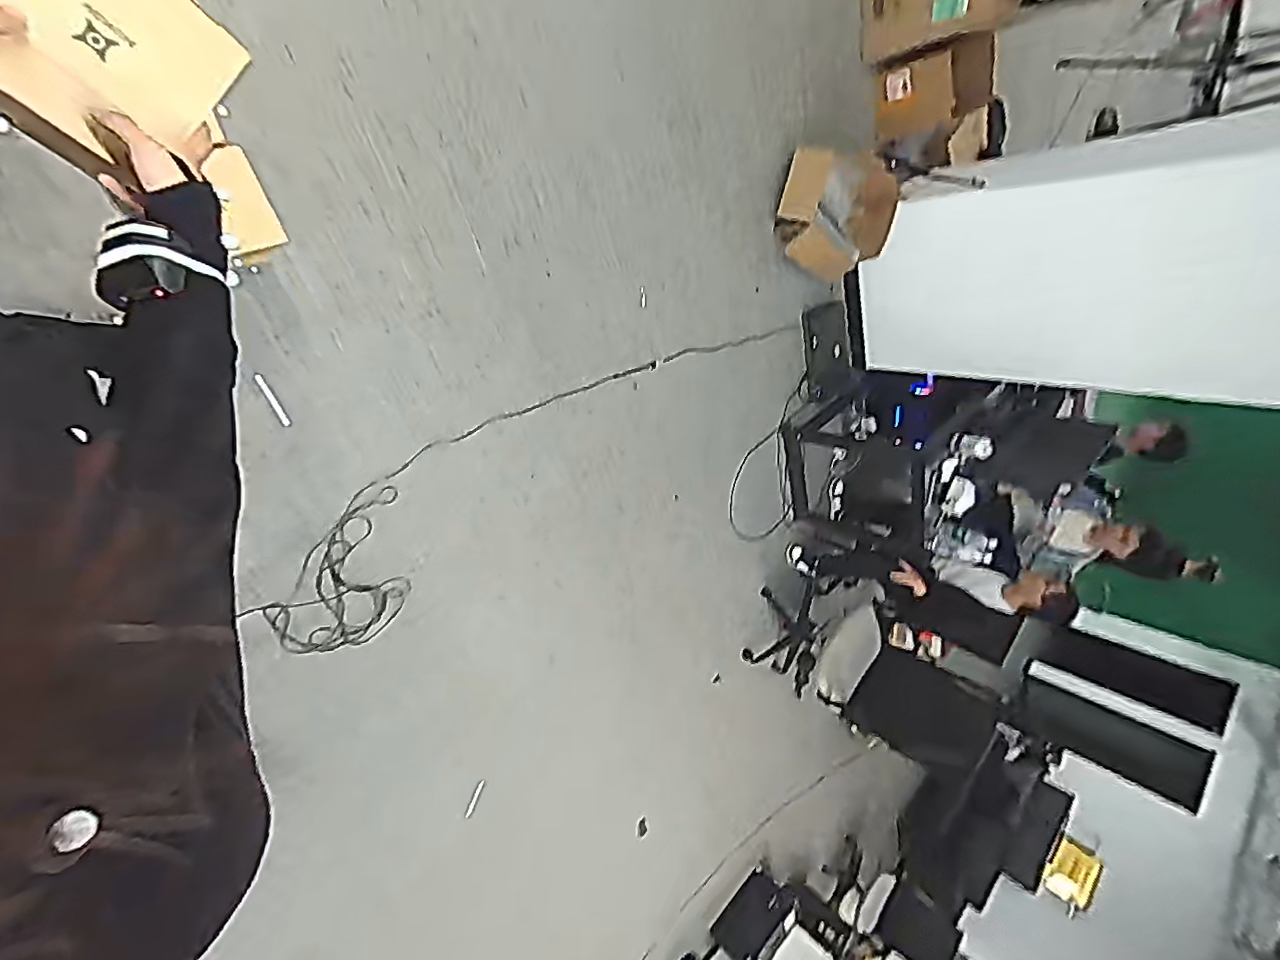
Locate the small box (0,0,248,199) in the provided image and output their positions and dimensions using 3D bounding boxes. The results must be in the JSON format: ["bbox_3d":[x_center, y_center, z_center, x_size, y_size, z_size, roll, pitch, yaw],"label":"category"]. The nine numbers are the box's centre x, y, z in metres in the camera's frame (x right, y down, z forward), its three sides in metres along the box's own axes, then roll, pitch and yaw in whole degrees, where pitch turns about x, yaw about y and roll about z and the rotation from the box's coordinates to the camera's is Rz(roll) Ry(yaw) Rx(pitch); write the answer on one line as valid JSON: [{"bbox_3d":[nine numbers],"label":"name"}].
[{"bbox_3d":[-0.533,-0.402,0.519,0.168,0.176,0.179,38,76,-50],"label":"small box"}]
